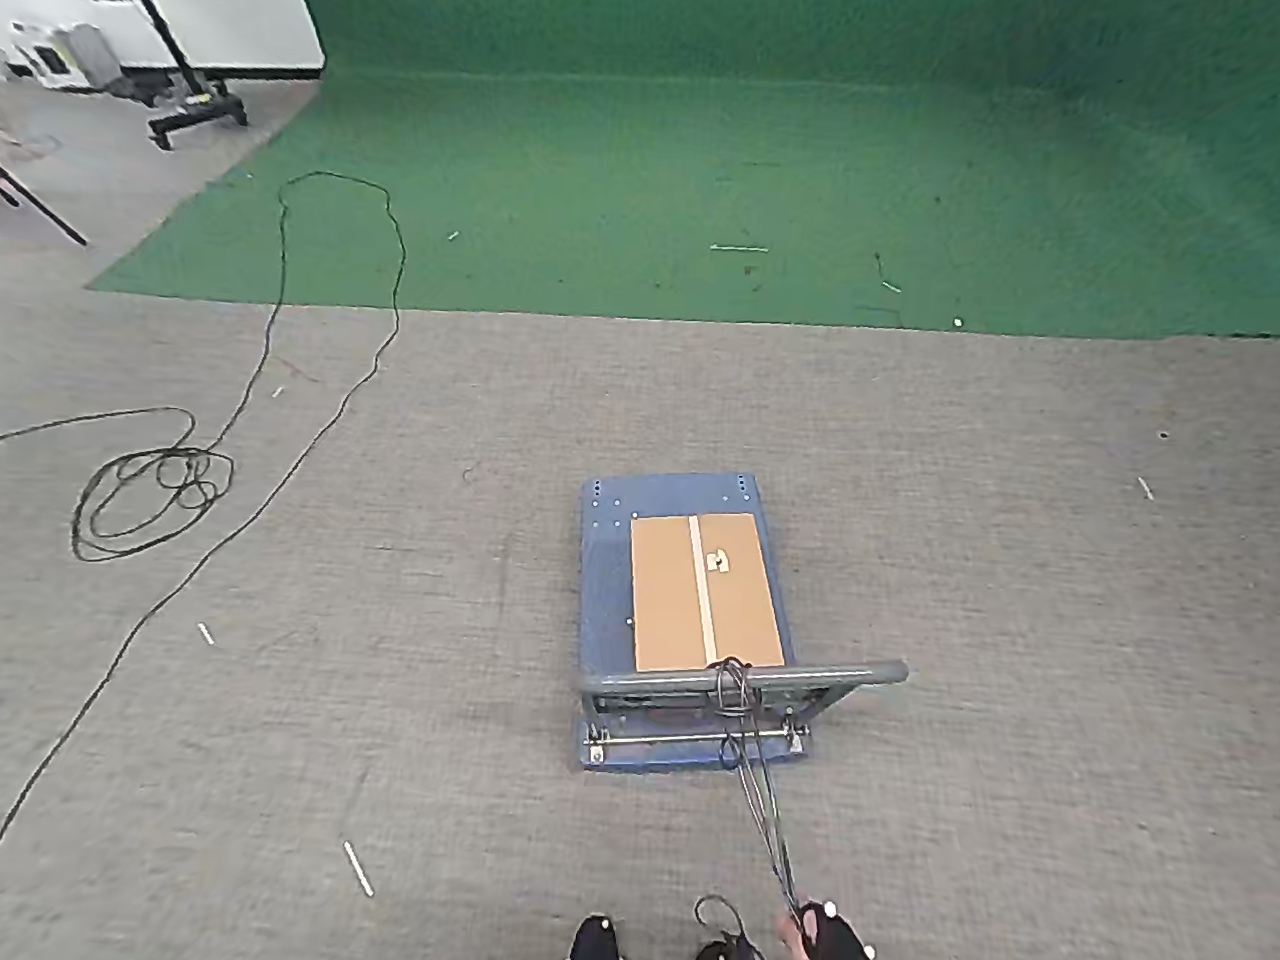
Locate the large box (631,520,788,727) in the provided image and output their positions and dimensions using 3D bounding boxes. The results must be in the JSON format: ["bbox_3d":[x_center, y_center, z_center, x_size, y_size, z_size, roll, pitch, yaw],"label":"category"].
[{"bbox_3d":[0.143,0.354,1.336,0.320,0.320,0.408,-2,52,-2],"label":"large box"}]
